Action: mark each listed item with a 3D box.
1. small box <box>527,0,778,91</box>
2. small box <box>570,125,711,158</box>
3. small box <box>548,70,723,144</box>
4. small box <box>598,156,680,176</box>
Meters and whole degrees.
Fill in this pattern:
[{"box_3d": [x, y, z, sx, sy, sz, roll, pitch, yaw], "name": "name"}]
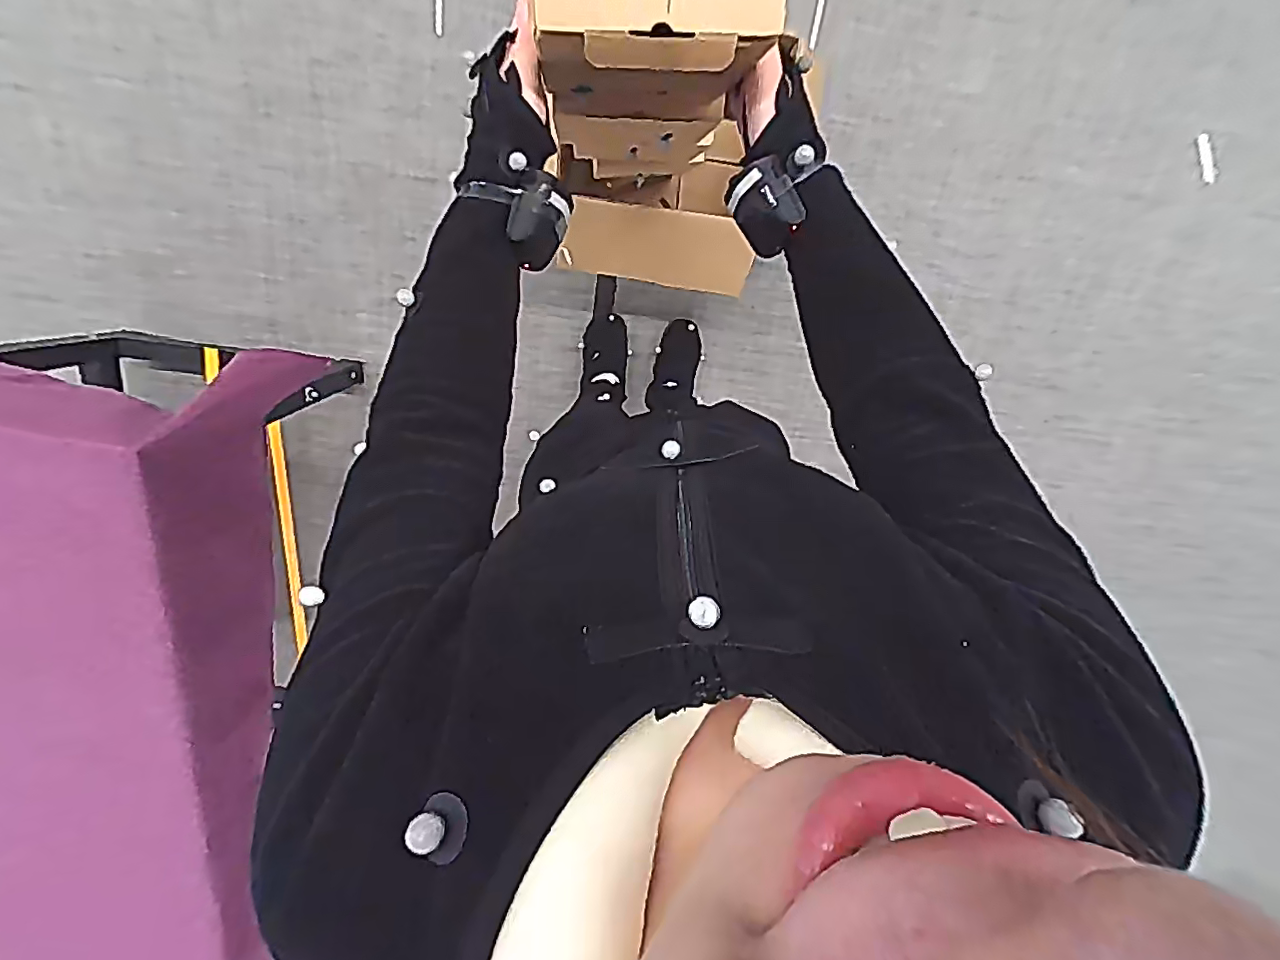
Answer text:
[{"box_3d": [0.003, -0.404, 0.392, 0.168, 0.176, 0.179, -3, 114, -6], "name": "small box"}, {"box_3d": [-0.004, -0.521, 0.699, 0.179, 0.176, 0.168, -1, 115, -6], "name": "small box"}, {"box_3d": [-0.007, -0.455, 0.549, 0.168, 0.176, 0.179, -1, 114, -6], "name": "small box"}, {"box_3d": [-0.003, -0.674, 0.992, 0.179, 0.176, 0.168, -14, 115, 0], "name": "small box"}]
